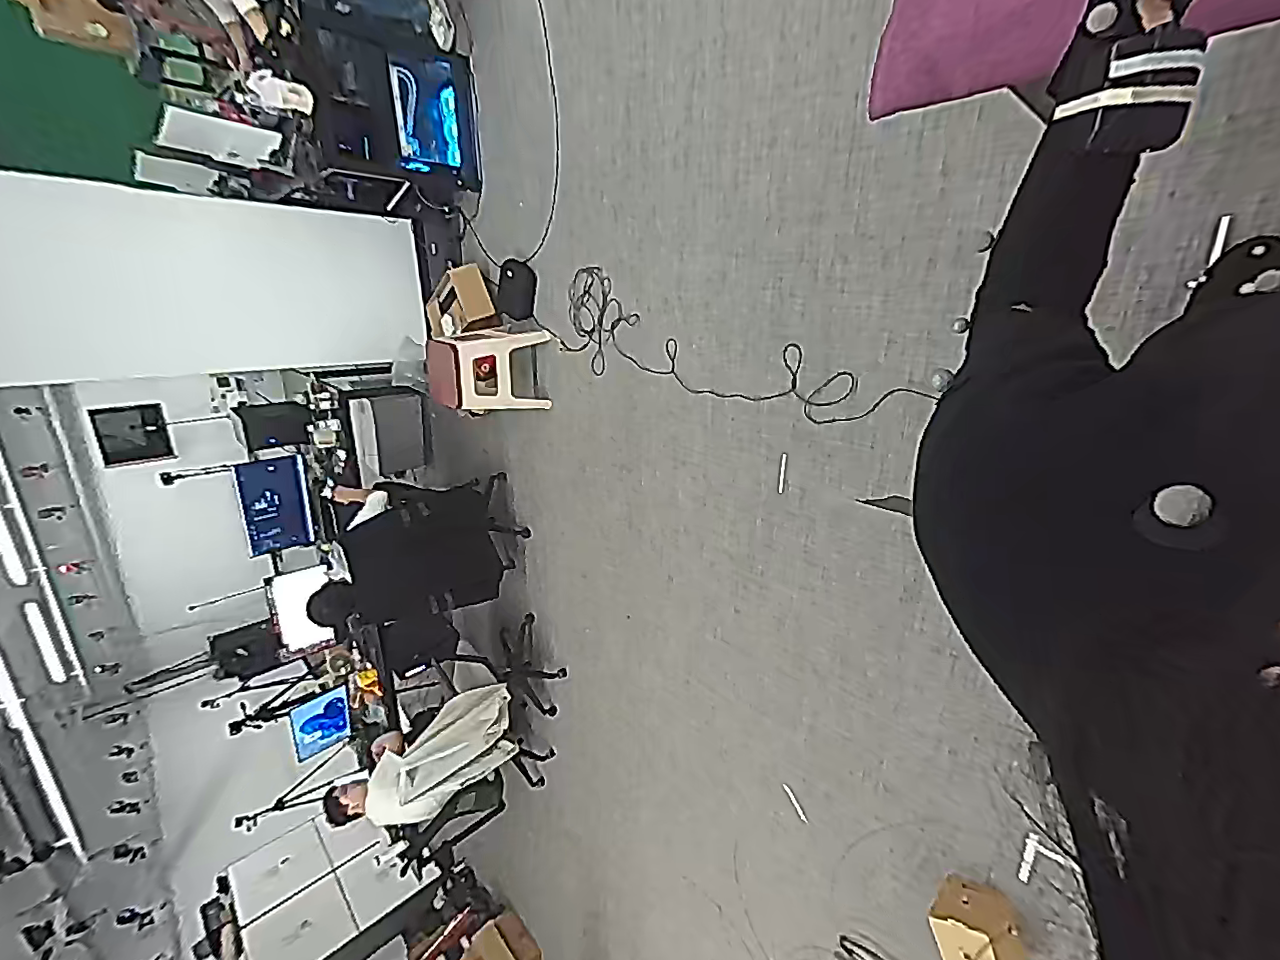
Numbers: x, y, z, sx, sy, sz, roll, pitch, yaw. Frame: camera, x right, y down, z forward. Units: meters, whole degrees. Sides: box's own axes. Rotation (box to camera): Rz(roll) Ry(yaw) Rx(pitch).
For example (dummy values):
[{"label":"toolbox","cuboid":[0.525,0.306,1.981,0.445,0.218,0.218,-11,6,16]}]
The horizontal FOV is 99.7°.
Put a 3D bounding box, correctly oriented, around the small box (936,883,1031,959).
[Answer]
[{"label":"small box","cuboid":[0.997,1.326,1.567,0.168,0.176,0.179,-21,86,49]}]
